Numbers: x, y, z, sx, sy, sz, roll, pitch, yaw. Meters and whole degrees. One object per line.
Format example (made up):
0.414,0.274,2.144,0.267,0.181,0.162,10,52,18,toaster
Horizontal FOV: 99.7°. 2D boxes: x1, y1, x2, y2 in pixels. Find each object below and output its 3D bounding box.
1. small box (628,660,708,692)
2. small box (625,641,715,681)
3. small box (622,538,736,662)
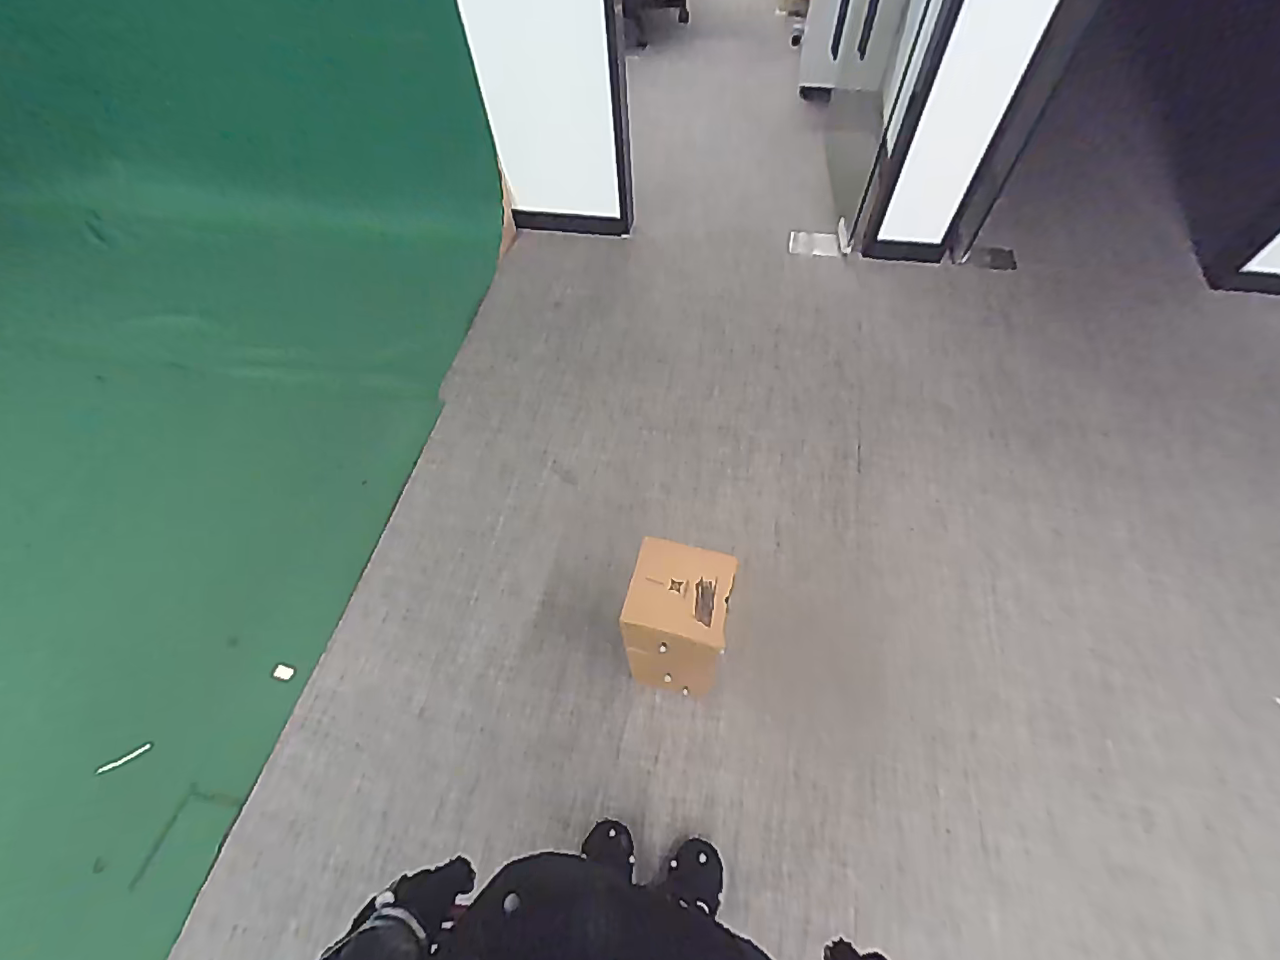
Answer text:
0.080,0.398,1.294,0.179,0.176,0.168,9,59,10,small box
0.076,0.316,1.152,0.179,0.176,0.168,12,60,9,small box
0.072,0.230,1.012,0.179,0.176,0.168,10,60,7,small box
